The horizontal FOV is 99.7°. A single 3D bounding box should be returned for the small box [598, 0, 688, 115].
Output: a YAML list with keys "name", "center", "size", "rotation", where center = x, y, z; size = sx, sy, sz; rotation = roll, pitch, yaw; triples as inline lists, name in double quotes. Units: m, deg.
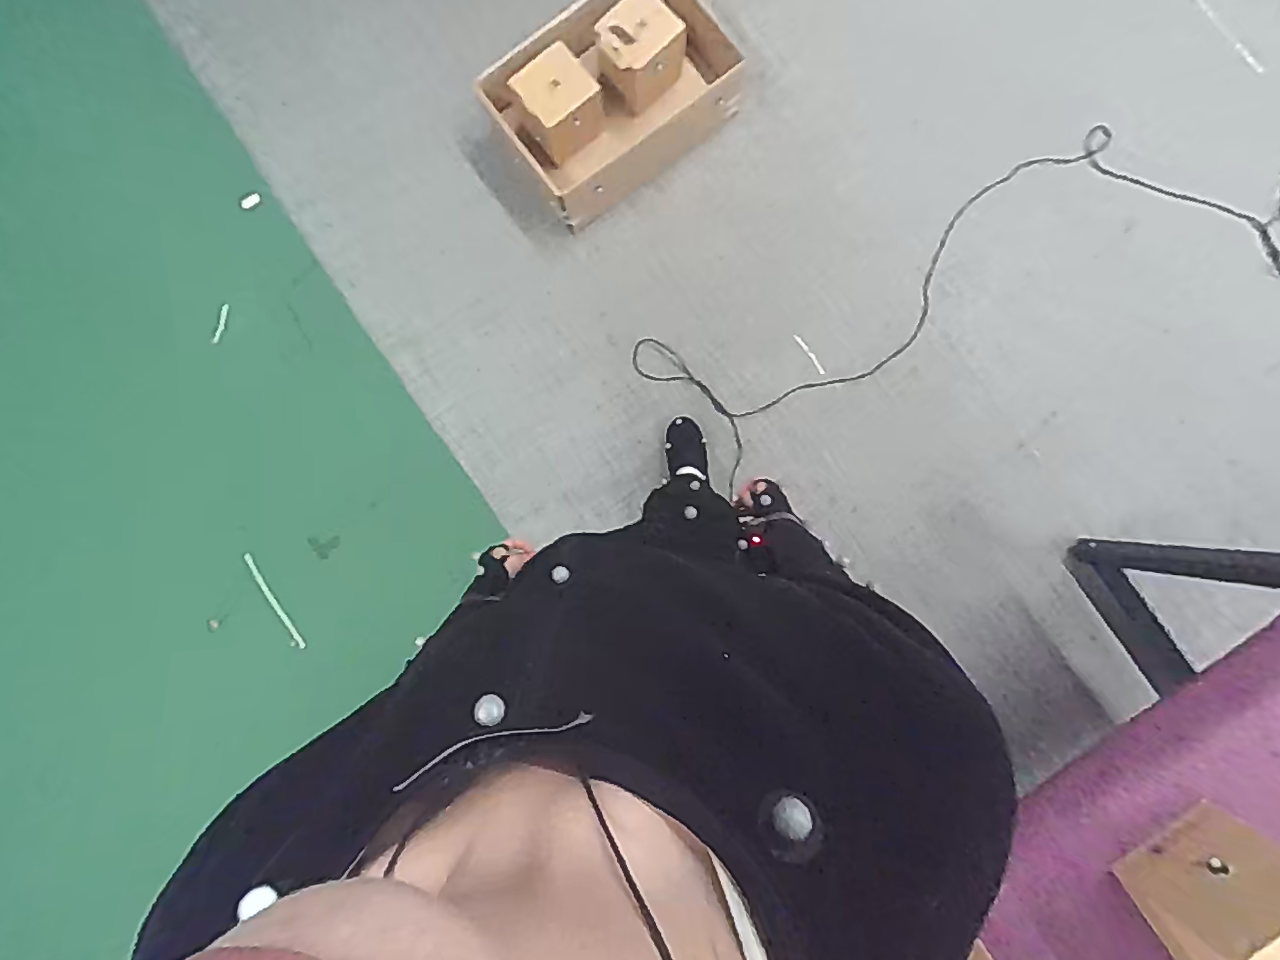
- name: "small box"
  center: [0.012, -1.144, 1.458]
  size: [0.179, 0.176, 0.168]
  rotation: [-44, 87, 0]

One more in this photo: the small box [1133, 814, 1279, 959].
- name: "small box"
  center: [0.778, 0.550, 0.658]
  size: [0.168, 0.176, 0.179]
  rotation: [-35, 88, 1]

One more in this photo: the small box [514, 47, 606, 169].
- name: "small box"
  center: [-0.205, -0.991, 1.458]
  size: [0.179, 0.176, 0.168]
  rotation: [-40, 88, -1]
